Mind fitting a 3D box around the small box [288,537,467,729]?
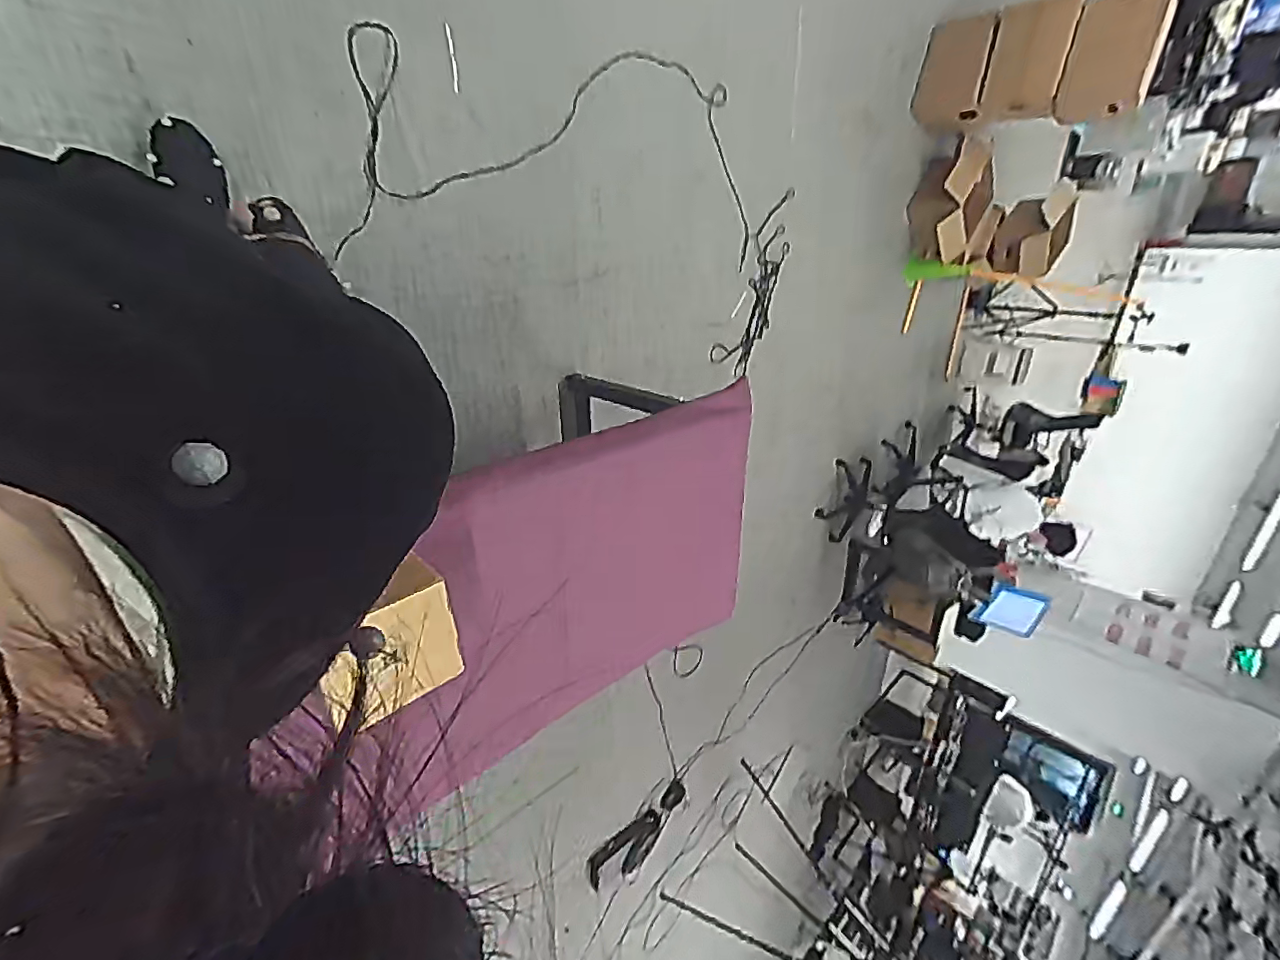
[{"bbox_3d":[-0.381,0.206,0.779,0.179,0.176,0.168,-24,122,-38],"label":"small box"}]
